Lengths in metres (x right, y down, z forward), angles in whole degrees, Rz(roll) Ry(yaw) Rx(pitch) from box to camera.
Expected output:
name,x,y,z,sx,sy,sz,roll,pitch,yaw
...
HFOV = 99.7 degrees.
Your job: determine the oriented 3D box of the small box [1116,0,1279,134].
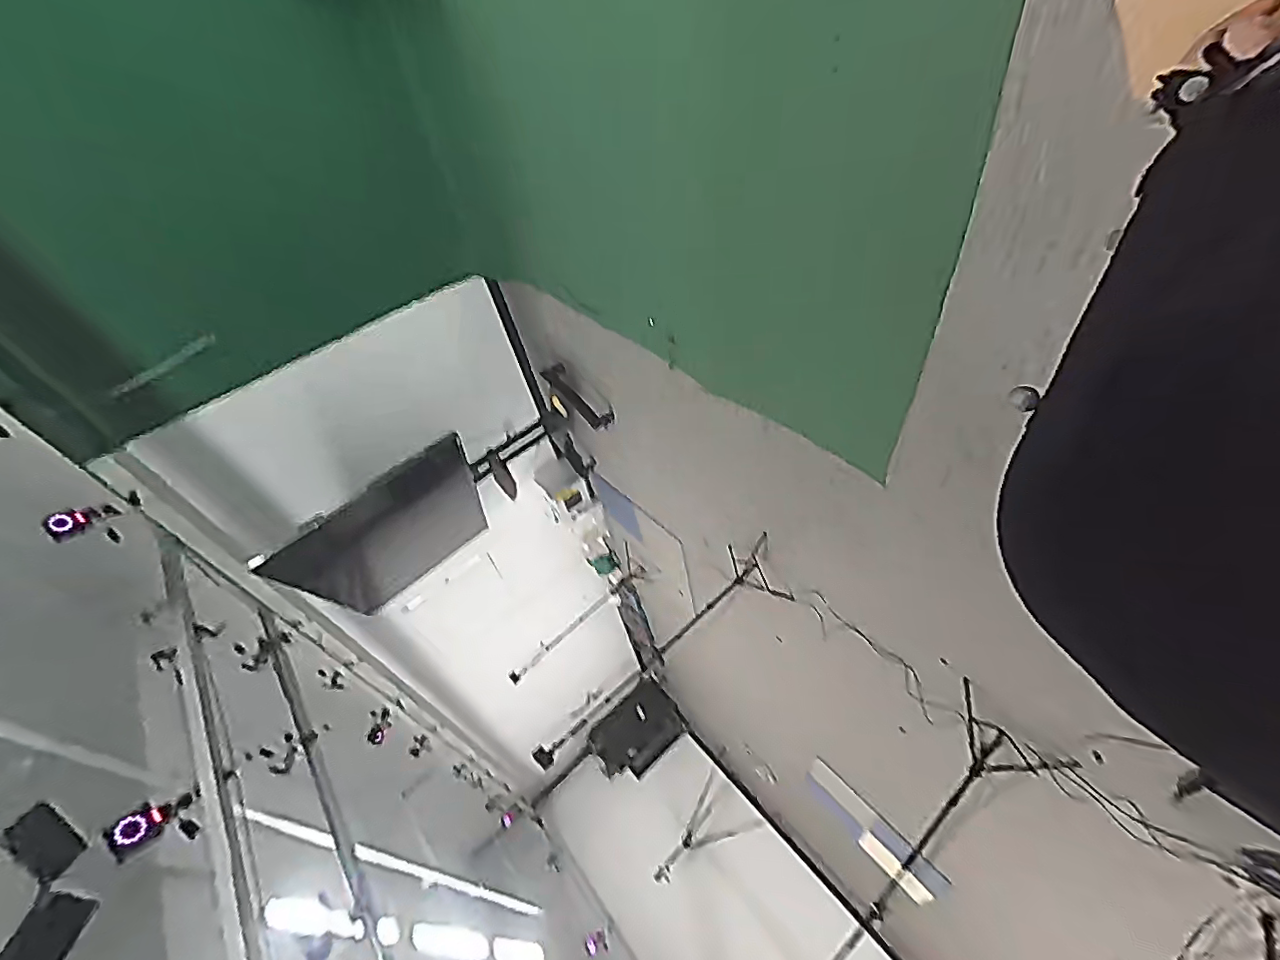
name,x,y,z,sx,sy,sz,roll,pitch,yaw
small box,0.562,-0.455,0.485,0.168,0.179,0.176,-8,94,60
